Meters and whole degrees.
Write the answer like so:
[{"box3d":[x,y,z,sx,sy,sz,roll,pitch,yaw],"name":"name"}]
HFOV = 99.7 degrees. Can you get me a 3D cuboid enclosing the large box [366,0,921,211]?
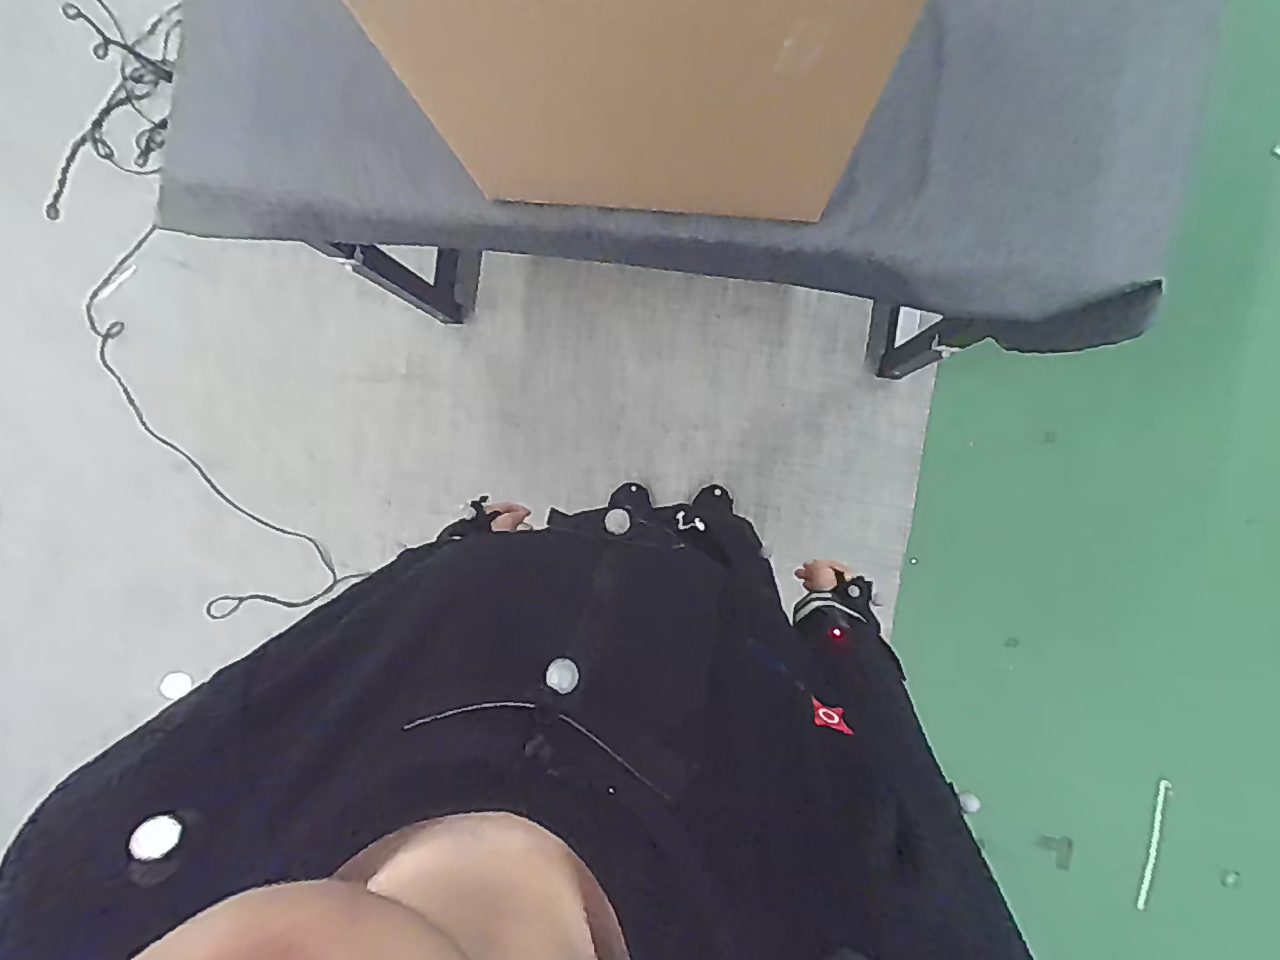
[{"box3d":[0.014,-0.479,0.496,0.408,0.320,0.320,6,90,5],"name":"large box"}]
